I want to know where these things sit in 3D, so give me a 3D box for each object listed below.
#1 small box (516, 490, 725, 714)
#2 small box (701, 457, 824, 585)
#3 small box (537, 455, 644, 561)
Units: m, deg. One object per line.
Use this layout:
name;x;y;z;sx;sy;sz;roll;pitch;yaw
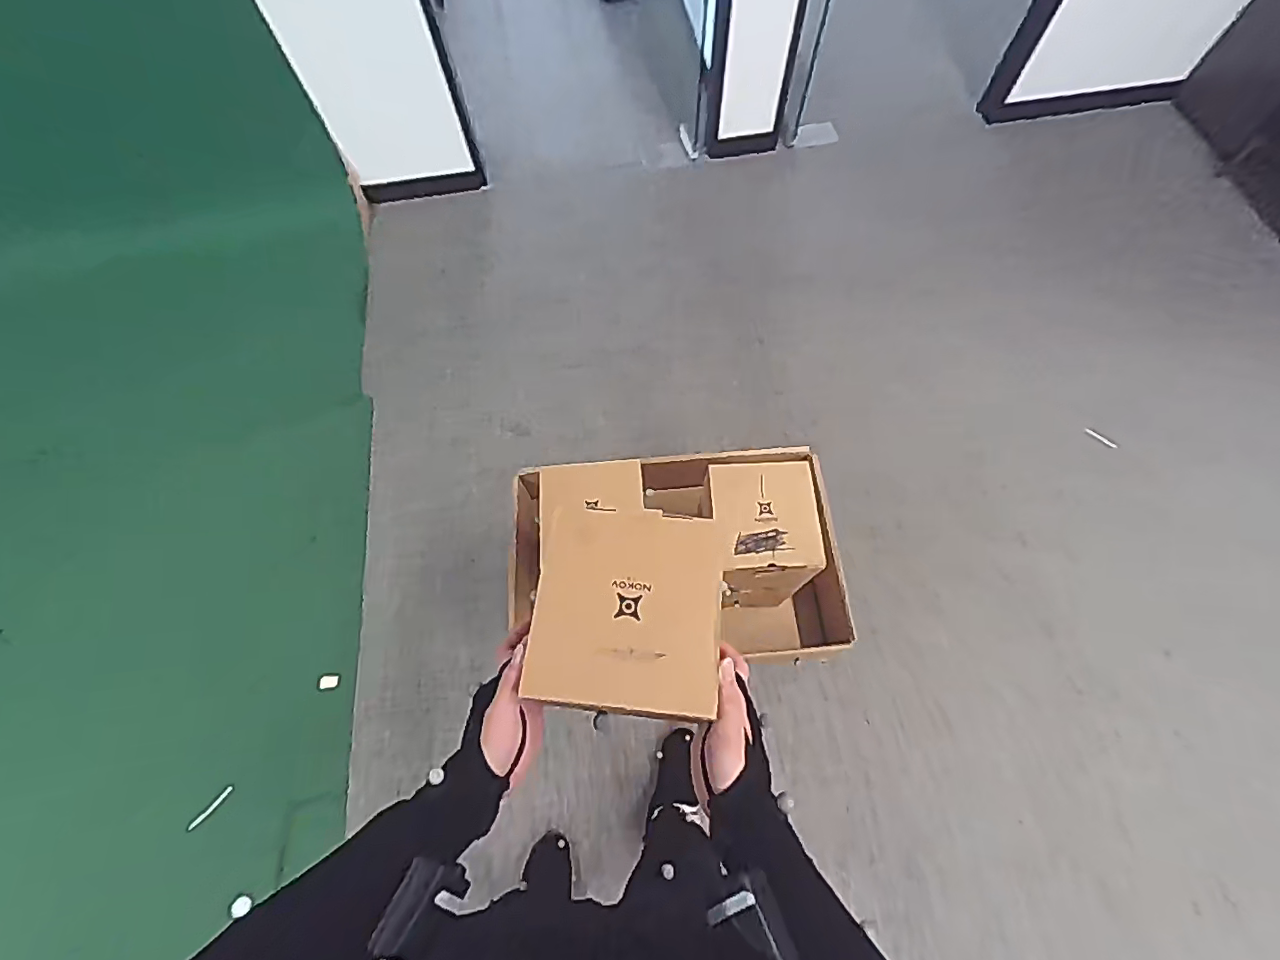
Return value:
small box;-0.013;0.130;0.543;0.168;0.176;0.179;6;65;2
small box;0.193;0.076;0.903;0.168;0.176;0.179;-2;67;1
small box;-0.074;0.075;0.909;0.168;0.176;0.179;-4;67;0
